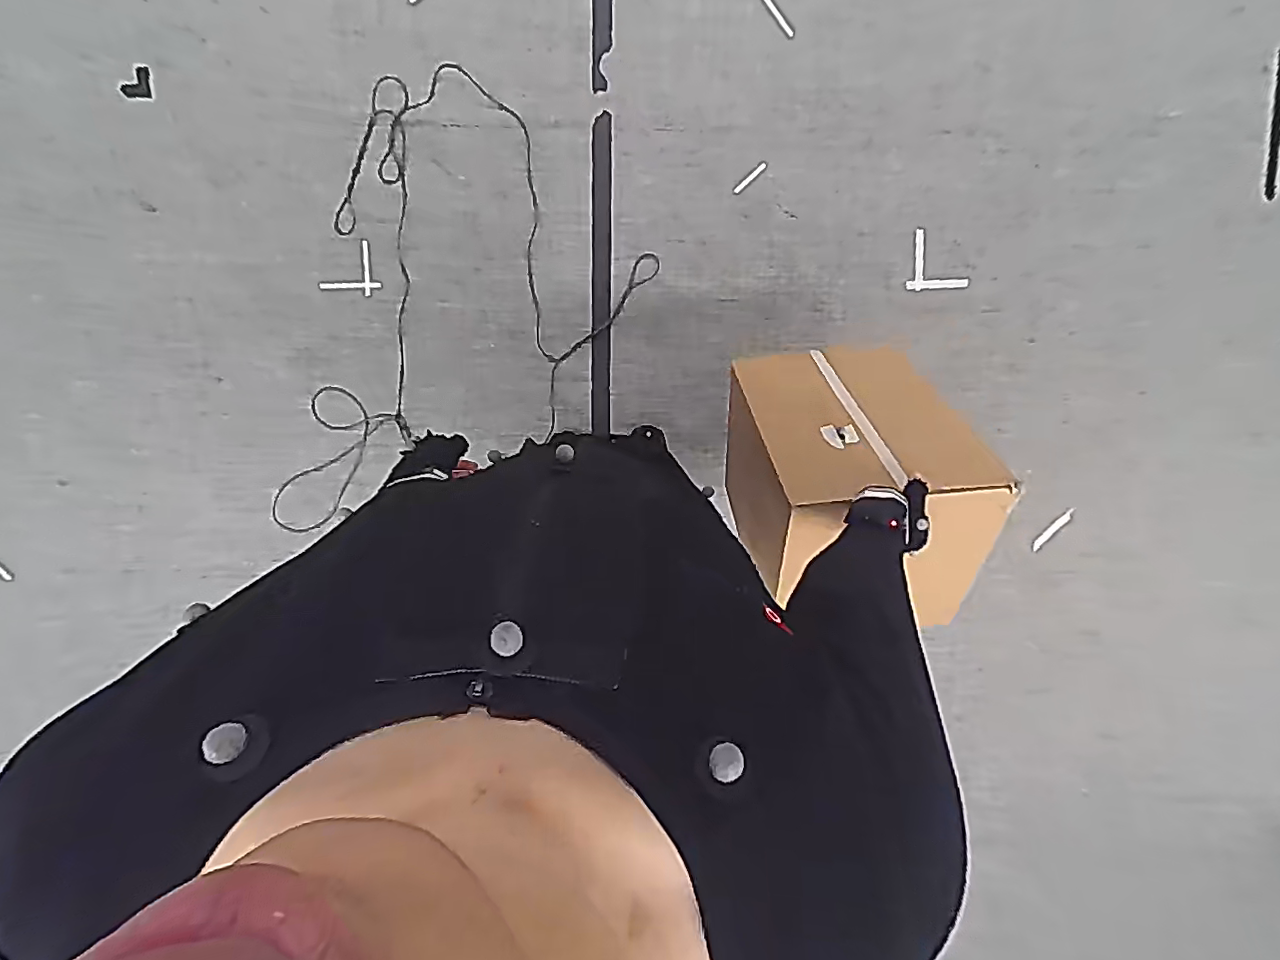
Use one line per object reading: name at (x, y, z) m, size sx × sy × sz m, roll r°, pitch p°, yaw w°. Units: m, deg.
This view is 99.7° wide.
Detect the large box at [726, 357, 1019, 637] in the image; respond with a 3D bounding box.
large box at (0.355, 0.017, 0.976) m, size 0.320 × 0.408 × 0.320 m, roll -5°, pitch 131°, yaw -1°
